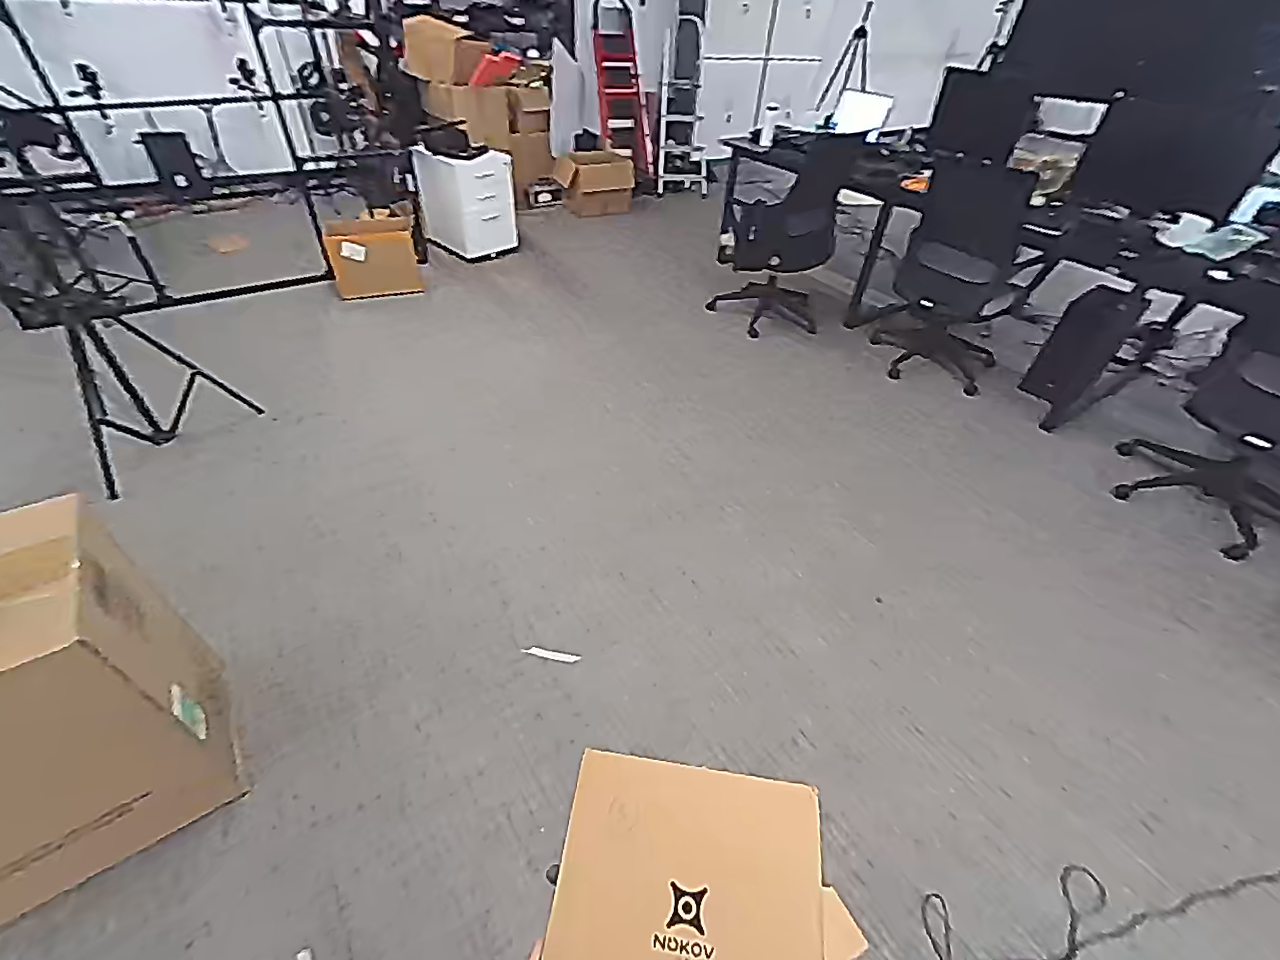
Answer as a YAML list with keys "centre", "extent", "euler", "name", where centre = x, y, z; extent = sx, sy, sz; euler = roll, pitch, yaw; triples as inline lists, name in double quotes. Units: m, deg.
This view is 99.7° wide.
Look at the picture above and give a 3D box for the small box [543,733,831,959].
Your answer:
- centre: [0.035, 0.305, 0.388]
  extent: [0.168, 0.176, 0.179]
  euler: [5, 53, 9]
  name: "small box"
